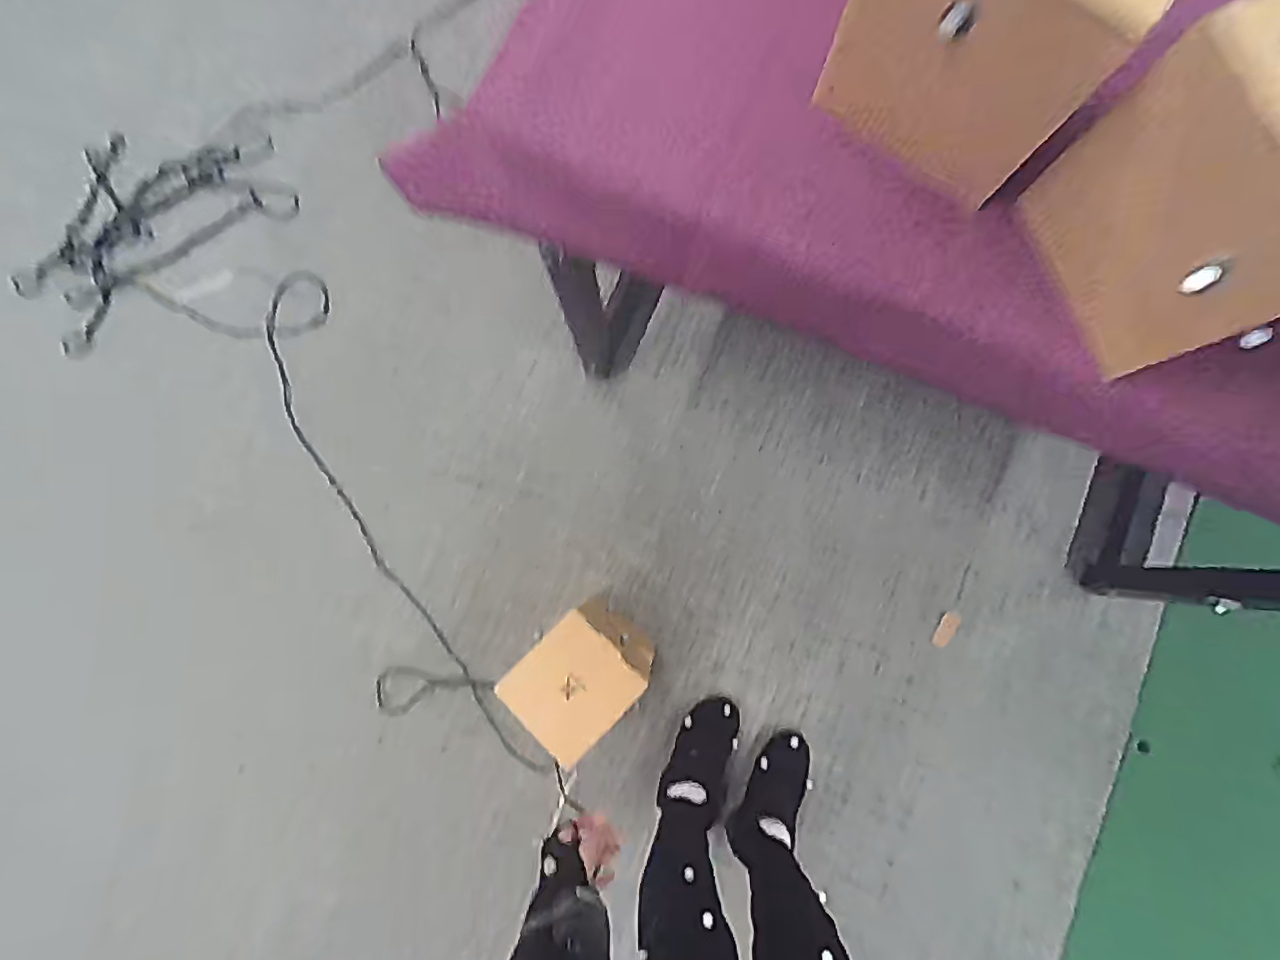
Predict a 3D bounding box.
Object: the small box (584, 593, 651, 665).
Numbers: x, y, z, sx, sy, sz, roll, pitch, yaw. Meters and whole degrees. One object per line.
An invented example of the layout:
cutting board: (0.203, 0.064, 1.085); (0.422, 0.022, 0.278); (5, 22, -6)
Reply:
small box: (-0.095, 0.340, 1.057); (0.168, 0.176, 0.179); (38, 86, 6)

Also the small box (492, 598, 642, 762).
small box: (-0.107, 0.317, 0.897); (0.168, 0.176, 0.179); (44, 85, 7)
